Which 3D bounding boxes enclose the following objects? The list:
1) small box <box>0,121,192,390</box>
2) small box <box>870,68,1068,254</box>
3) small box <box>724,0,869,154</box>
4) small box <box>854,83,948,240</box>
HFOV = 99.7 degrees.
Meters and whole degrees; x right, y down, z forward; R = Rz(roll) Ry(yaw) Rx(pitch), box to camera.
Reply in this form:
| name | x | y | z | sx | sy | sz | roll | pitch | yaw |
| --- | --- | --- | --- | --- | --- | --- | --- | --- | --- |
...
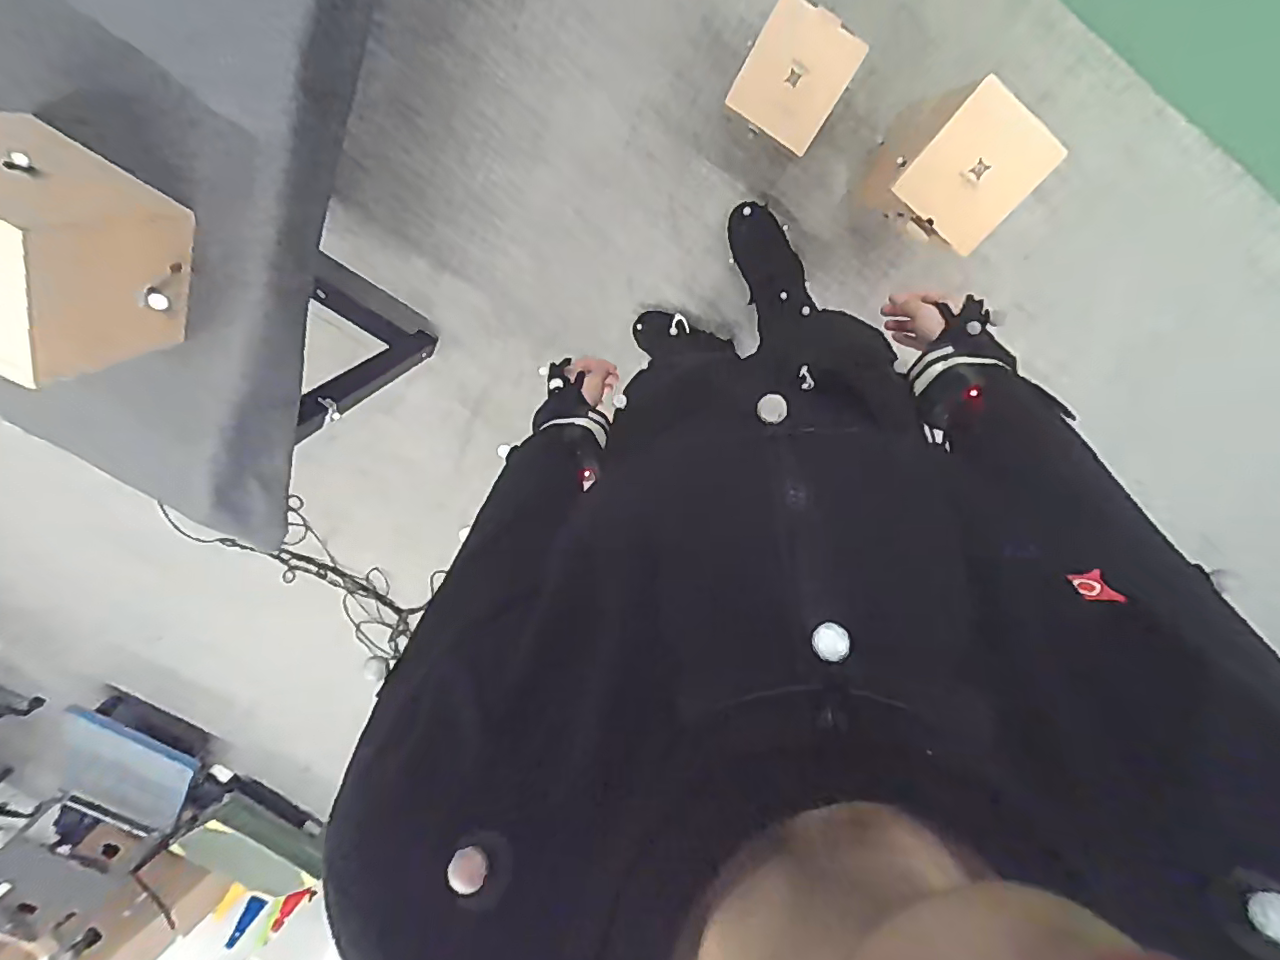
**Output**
| name | x | y | z | sx | sy | sz | roll | pitch | yaw |
| --- | --- | --- | --- | --- | --- | --- | --- | --- | --- |
| small box | -0.589 | -0.220 | 0.516 | 0.179 | 0.176 | 0.168 | 30 | 121 | -9 |
| small box | 0.492 | -0.488 | 0.841 | 0.168 | 0.176 | 0.179 | 34 | 120 | -11 |
| small box | 0.262 | -0.704 | 0.944 | 0.168 | 0.176 | 0.179 | 29 | 122 | -7 |
| small box | 0.512 | -0.572 | 0.980 | 0.168 | 0.176 | 0.179 | 33 | 122 | -11 |
